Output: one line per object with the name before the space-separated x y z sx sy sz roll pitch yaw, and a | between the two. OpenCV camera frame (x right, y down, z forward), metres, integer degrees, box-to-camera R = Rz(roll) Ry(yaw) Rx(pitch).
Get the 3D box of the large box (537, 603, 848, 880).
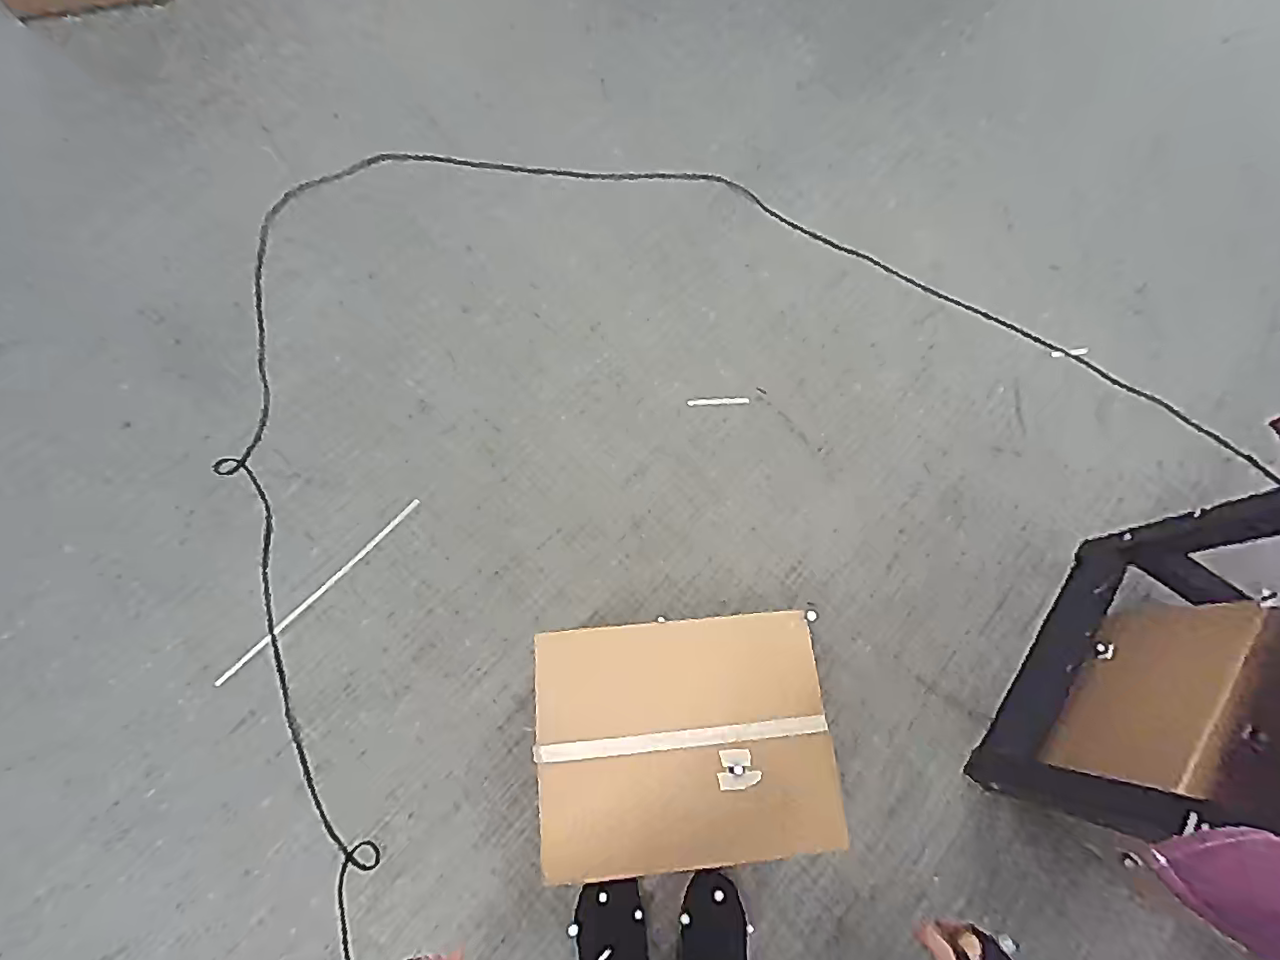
large box | 0.056 0.394 0.886 0.408 0.320 0.320 -4 72 -4
